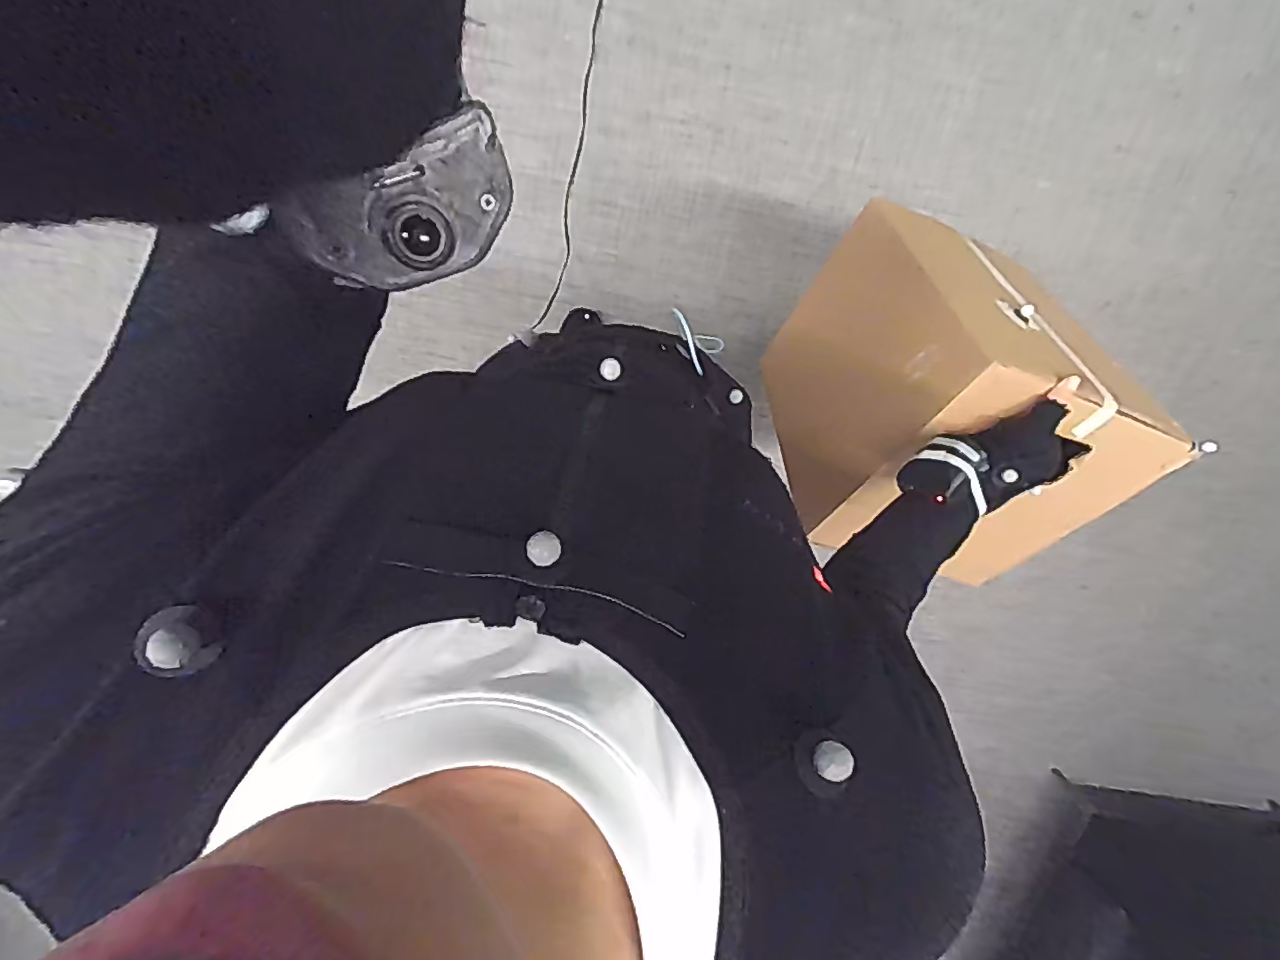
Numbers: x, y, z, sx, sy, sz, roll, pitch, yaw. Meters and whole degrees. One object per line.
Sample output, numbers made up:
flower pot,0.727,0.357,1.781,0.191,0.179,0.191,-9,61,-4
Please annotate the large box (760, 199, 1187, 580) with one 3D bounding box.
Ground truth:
large box,0.411,-0.123,0.789,0.320,0.408,0.320,15,137,-17
